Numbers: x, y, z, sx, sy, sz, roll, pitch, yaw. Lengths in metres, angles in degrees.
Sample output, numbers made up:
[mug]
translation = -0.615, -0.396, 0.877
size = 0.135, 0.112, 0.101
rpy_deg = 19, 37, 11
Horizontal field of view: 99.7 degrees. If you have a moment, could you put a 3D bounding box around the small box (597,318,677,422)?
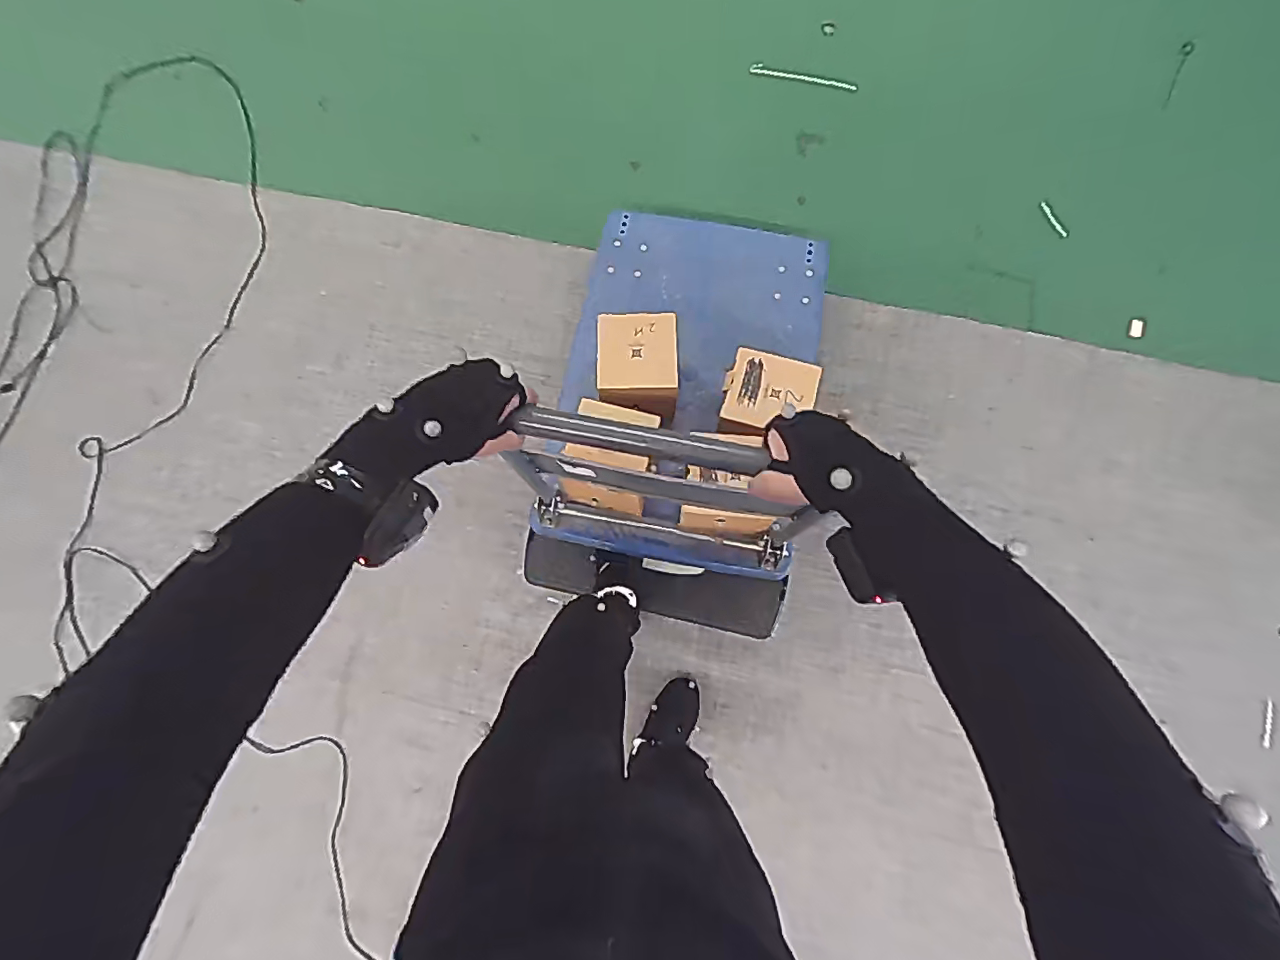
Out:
[small box]
translation = -0.004, -0.235, 1.188
size = 0.168, 0.176, 0.179
rpy_deg = 0, 73, 0
